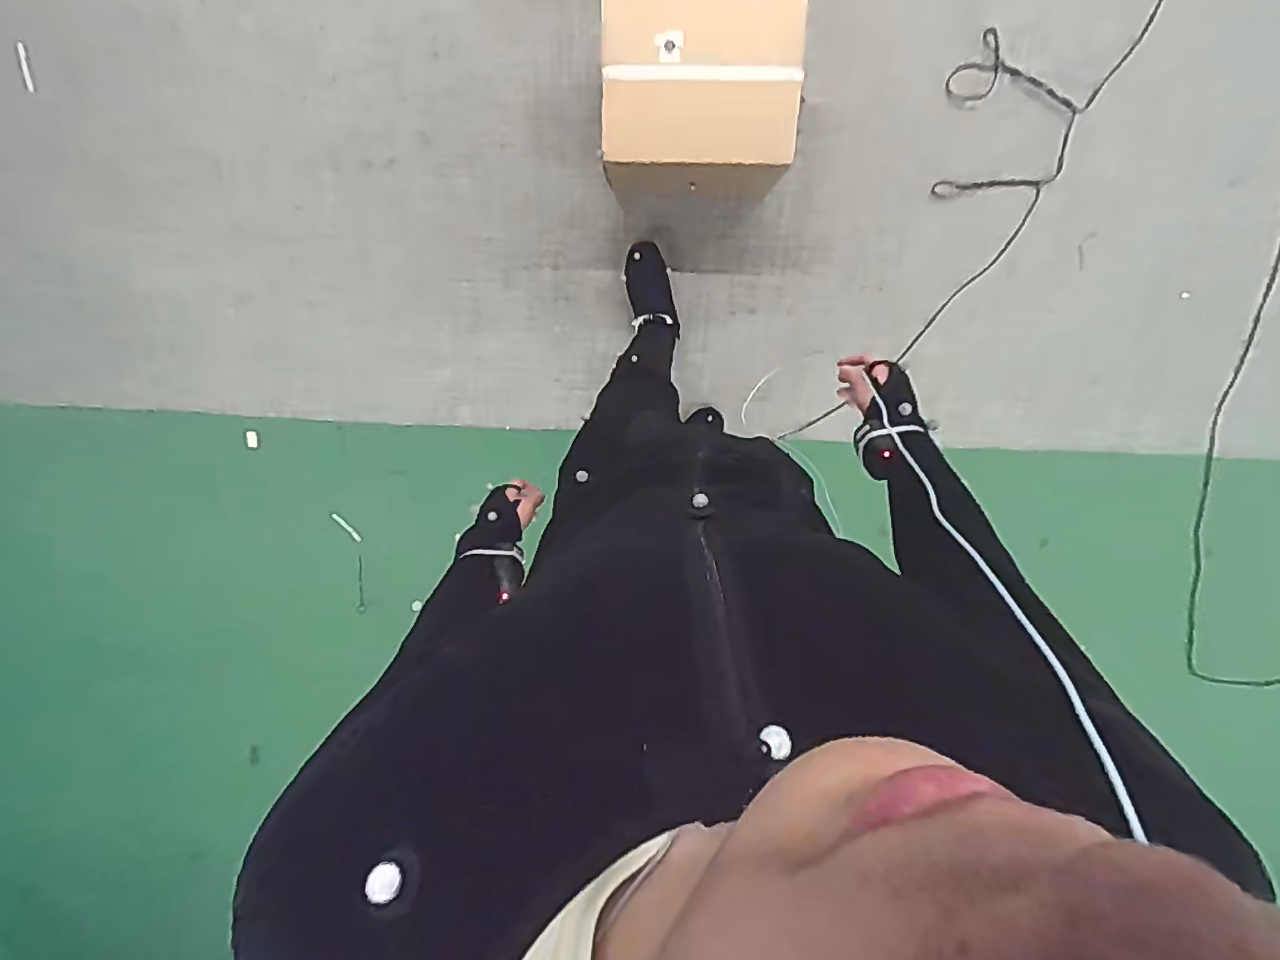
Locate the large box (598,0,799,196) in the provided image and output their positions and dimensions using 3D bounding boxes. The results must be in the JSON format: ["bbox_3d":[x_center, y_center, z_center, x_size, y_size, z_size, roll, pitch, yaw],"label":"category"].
[{"bbox_3d":[0.125,-0.856,1.245,0.408,0.320,0.320,1,106,3],"label":"large box"}]
